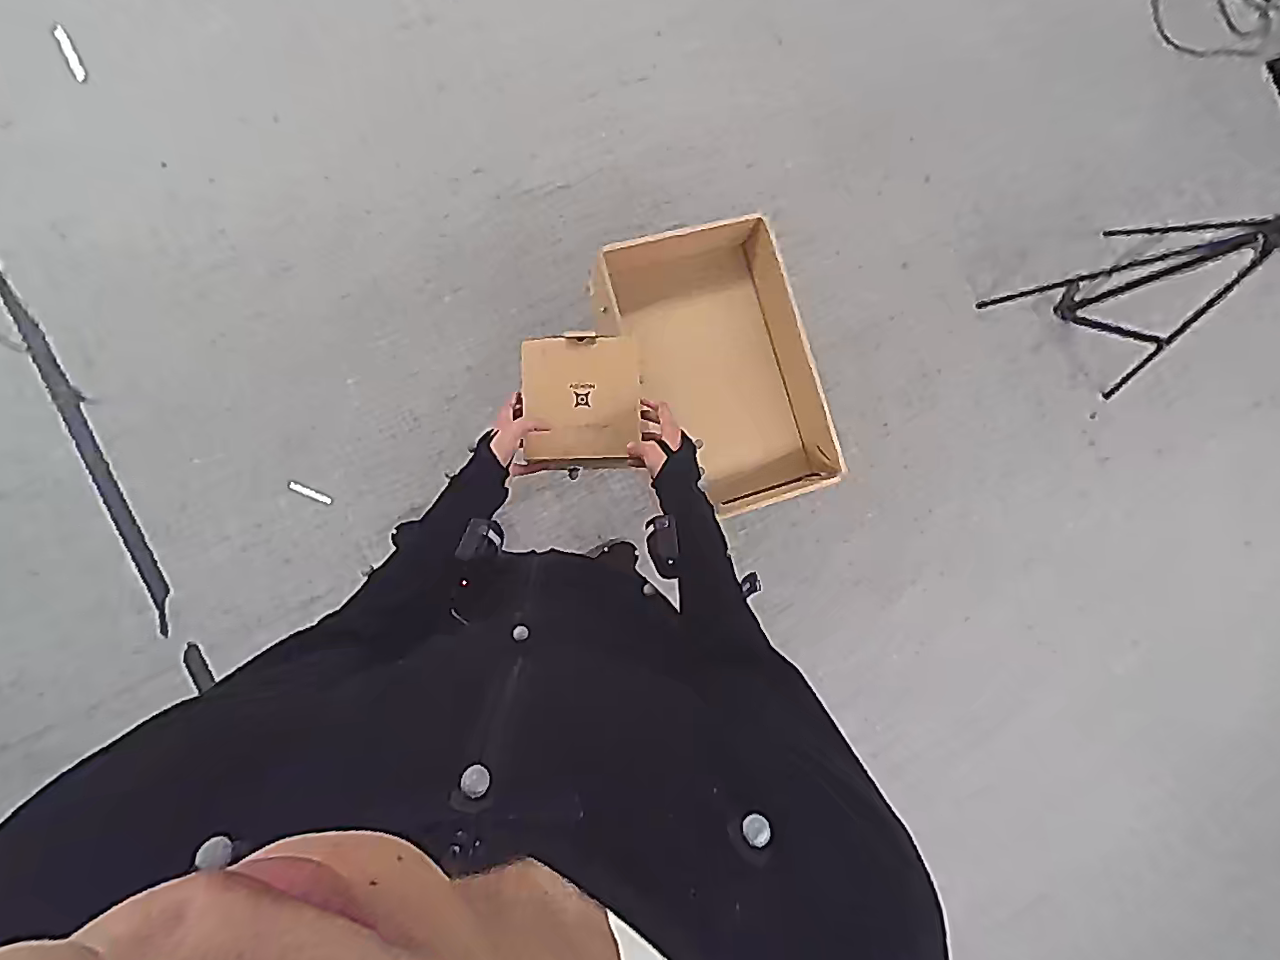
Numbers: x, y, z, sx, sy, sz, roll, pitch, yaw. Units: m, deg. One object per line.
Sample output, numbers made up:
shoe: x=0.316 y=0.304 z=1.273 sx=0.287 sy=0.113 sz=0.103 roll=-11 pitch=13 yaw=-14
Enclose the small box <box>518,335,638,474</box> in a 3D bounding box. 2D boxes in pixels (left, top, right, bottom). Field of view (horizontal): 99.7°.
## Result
small box: x=-0.093 y=-0.107 z=0.821 sx=0.168 sy=0.176 sz=0.179 roll=-2 pitch=85 yaw=-5
